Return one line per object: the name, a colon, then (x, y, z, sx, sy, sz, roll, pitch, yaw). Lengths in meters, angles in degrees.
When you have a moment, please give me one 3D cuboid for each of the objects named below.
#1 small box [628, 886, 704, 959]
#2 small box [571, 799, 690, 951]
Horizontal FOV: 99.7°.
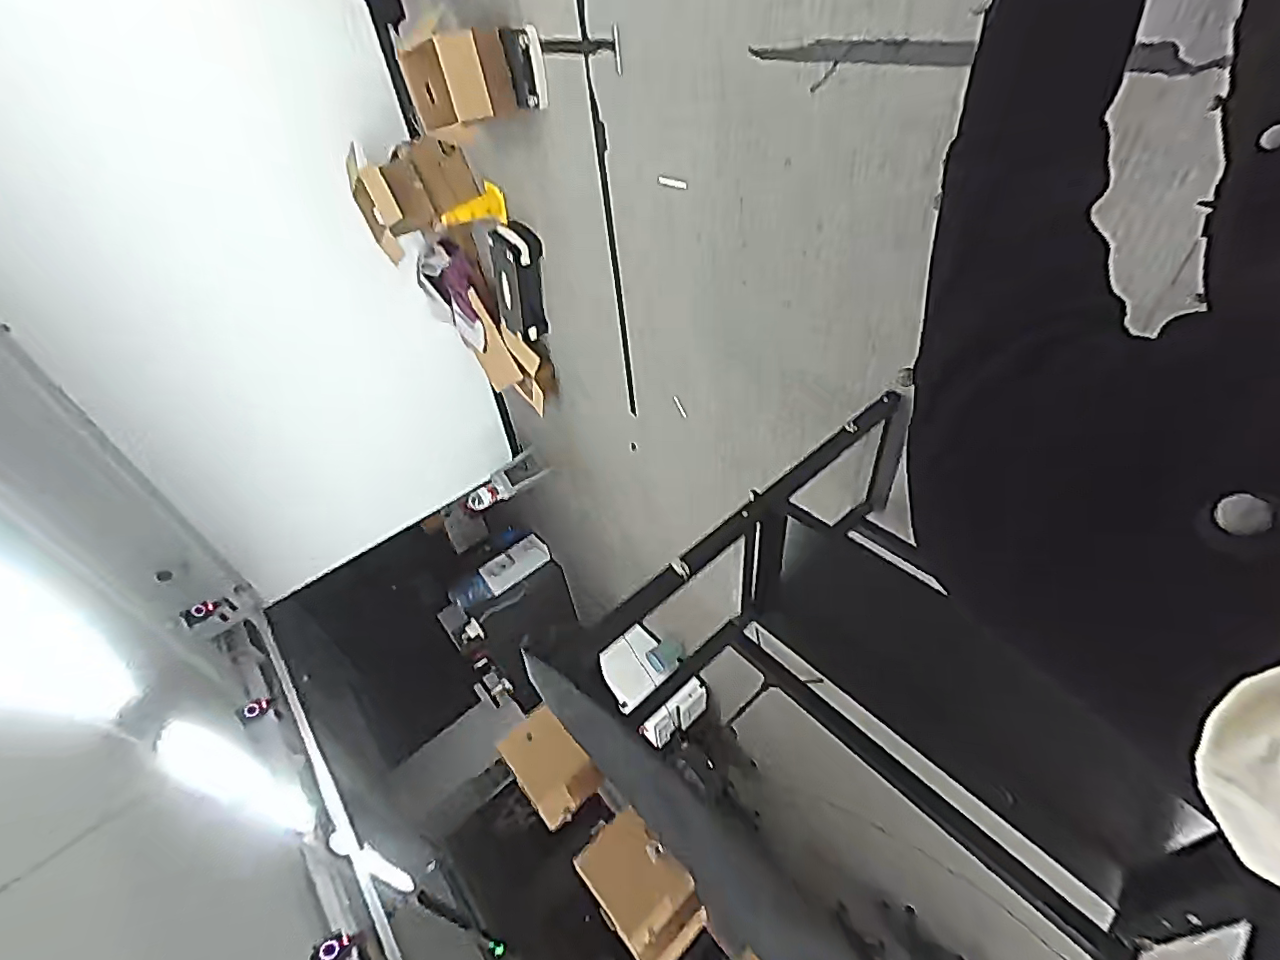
small box: (0.026, 0.975, 1.231, 0.179, 0.176, 0.168, 36, 148, 37)
small box: (-0.011, 0.788, 1.084, 0.168, 0.176, 0.179, 35, 148, 35)
